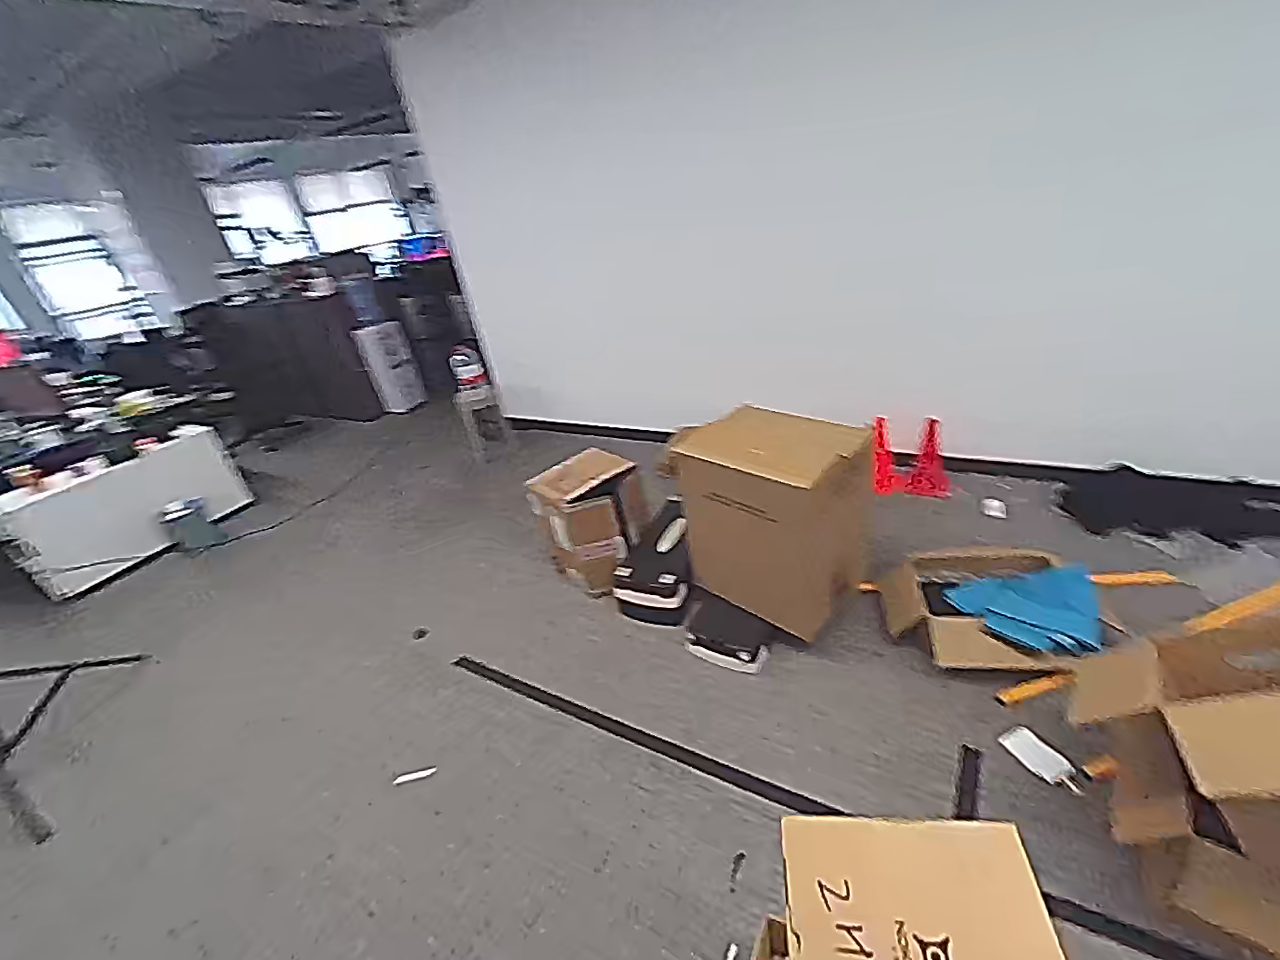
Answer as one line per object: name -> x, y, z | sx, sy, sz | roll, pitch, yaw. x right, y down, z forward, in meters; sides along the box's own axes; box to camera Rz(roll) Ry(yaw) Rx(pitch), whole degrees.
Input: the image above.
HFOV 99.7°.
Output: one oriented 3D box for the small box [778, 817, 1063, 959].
small box -> 0.203, 0.379, 0.407 | 0.179, 0.176, 0.168 | -6, 37, 13
